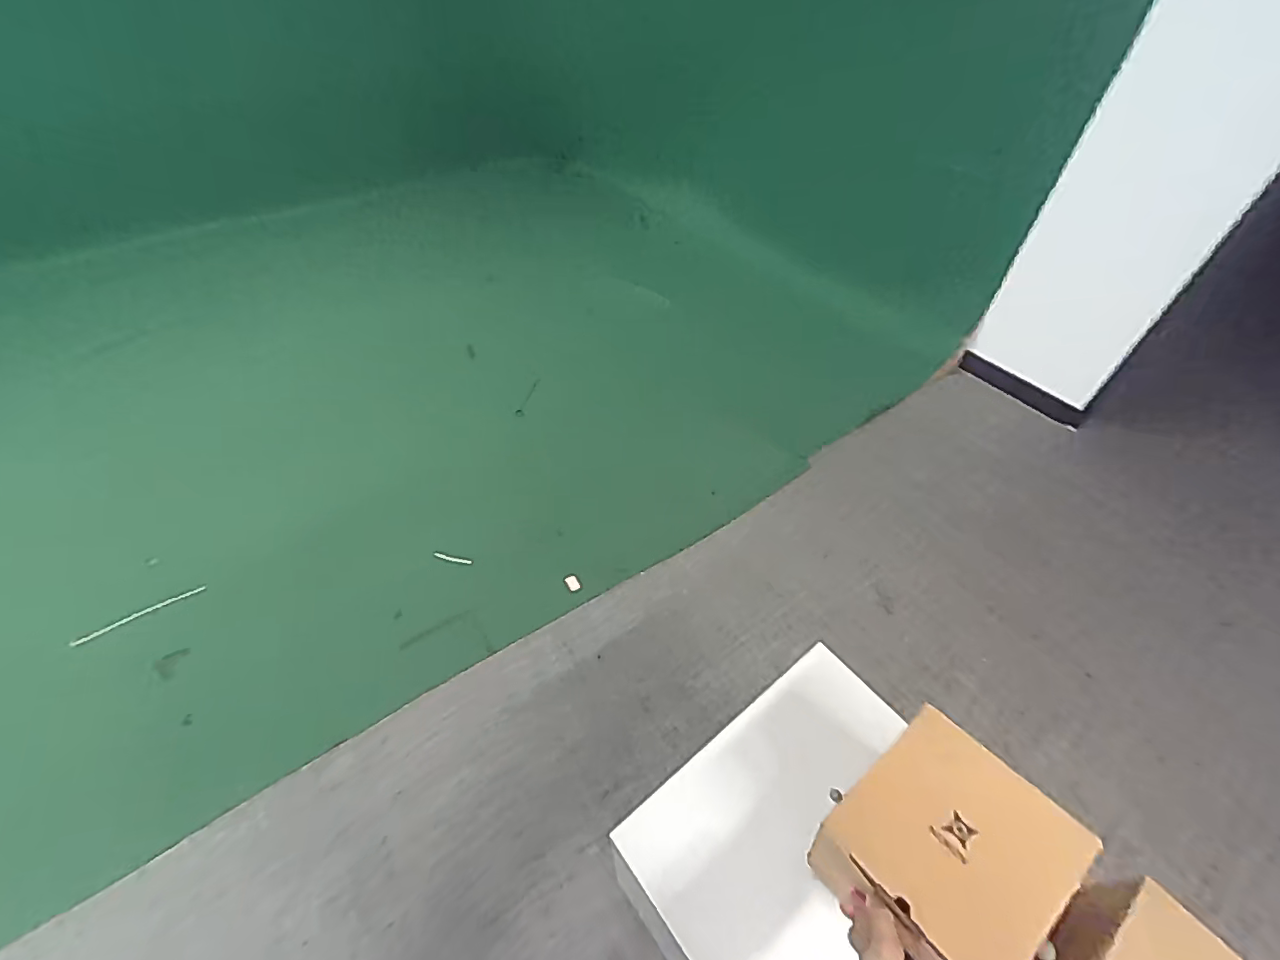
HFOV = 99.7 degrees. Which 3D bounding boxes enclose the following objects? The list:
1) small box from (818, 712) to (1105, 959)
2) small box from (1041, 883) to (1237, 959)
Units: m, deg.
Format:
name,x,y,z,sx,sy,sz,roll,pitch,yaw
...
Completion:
name,x,y,z,sx,sy,sz,roll,pitch,yaw
small box,0.299,0.380,0.544,0.179,0.176,0.168,-33,49,-20
small box,0.441,0.504,0.472,0.179,0.176,0.168,-30,56,-25
